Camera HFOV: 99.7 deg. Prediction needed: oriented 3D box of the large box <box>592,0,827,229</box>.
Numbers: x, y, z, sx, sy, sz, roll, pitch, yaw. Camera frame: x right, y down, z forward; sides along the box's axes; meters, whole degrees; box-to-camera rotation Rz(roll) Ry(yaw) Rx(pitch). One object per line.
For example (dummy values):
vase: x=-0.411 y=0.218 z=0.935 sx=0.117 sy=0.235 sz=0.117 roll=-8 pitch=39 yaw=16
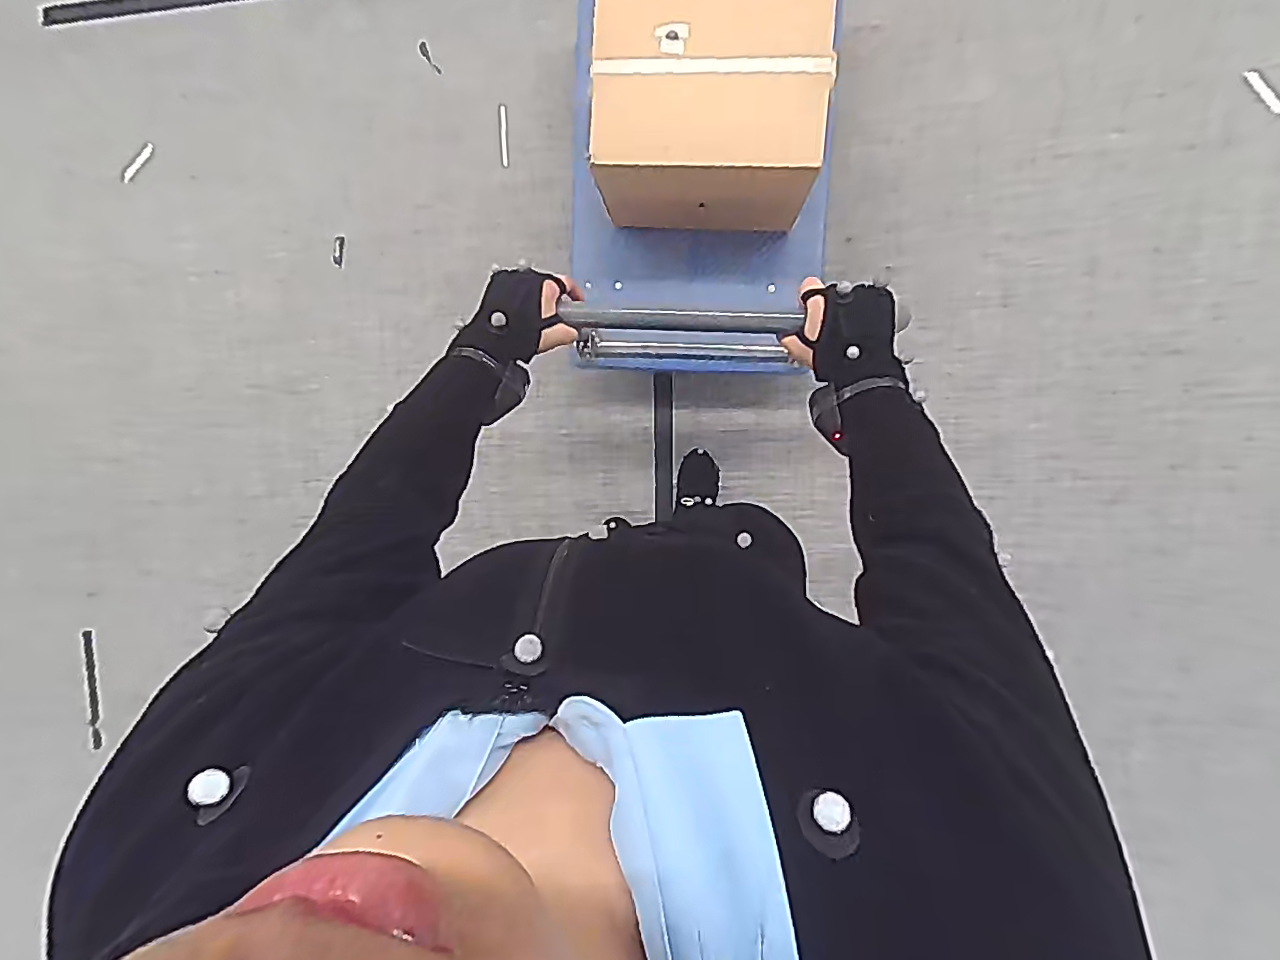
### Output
large box: x=0.133 y=-0.716 z=1.090 sx=0.408 sy=0.320 sz=0.320 roll=3 pitch=95 yaw=6
